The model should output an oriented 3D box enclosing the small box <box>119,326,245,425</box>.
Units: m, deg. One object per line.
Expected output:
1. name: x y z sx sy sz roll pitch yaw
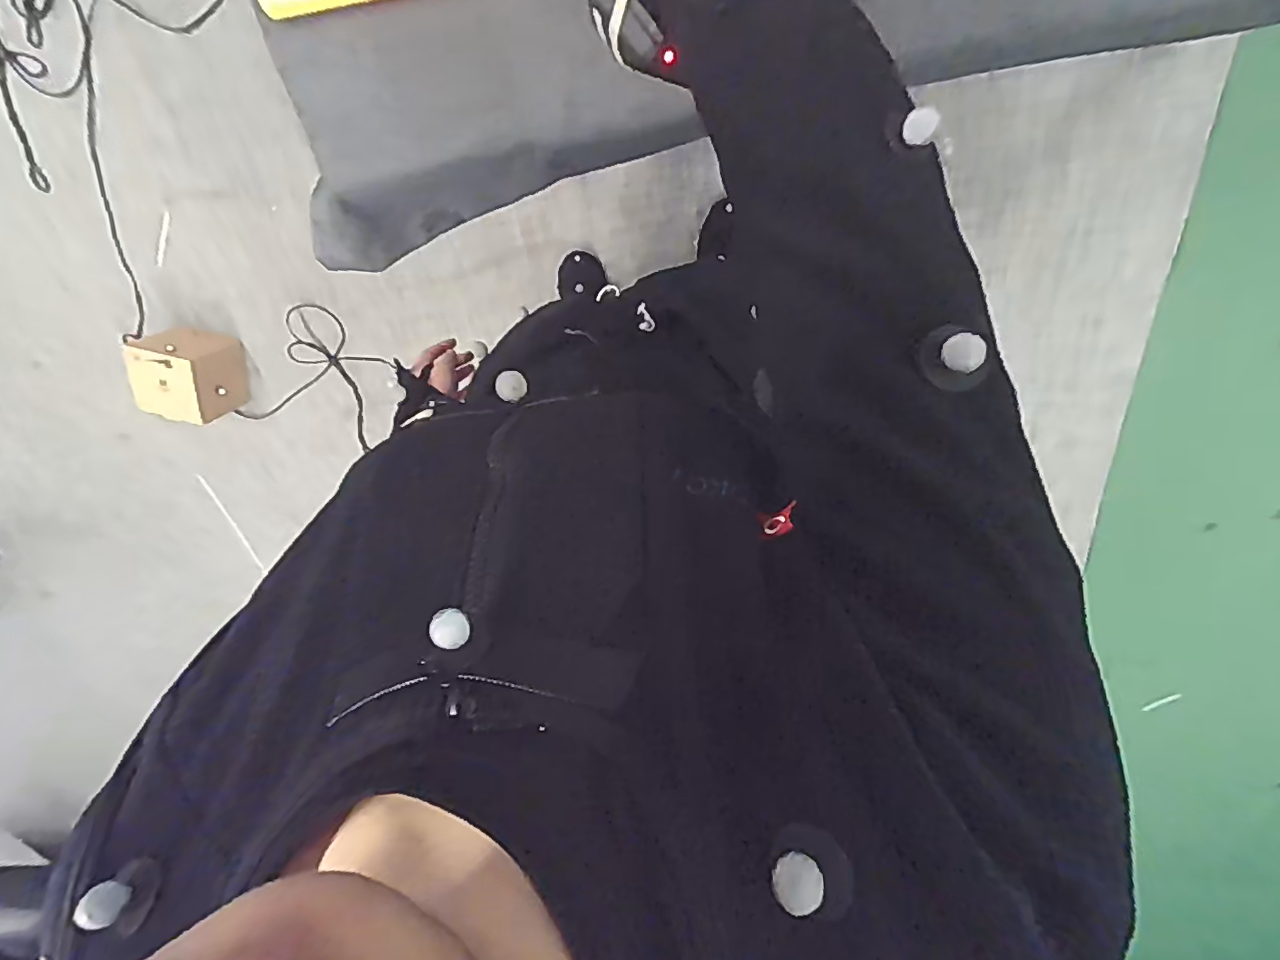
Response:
1. small box: -1.143 -0.268 1.369 0.168 0.176 0.179 14 120 -1
